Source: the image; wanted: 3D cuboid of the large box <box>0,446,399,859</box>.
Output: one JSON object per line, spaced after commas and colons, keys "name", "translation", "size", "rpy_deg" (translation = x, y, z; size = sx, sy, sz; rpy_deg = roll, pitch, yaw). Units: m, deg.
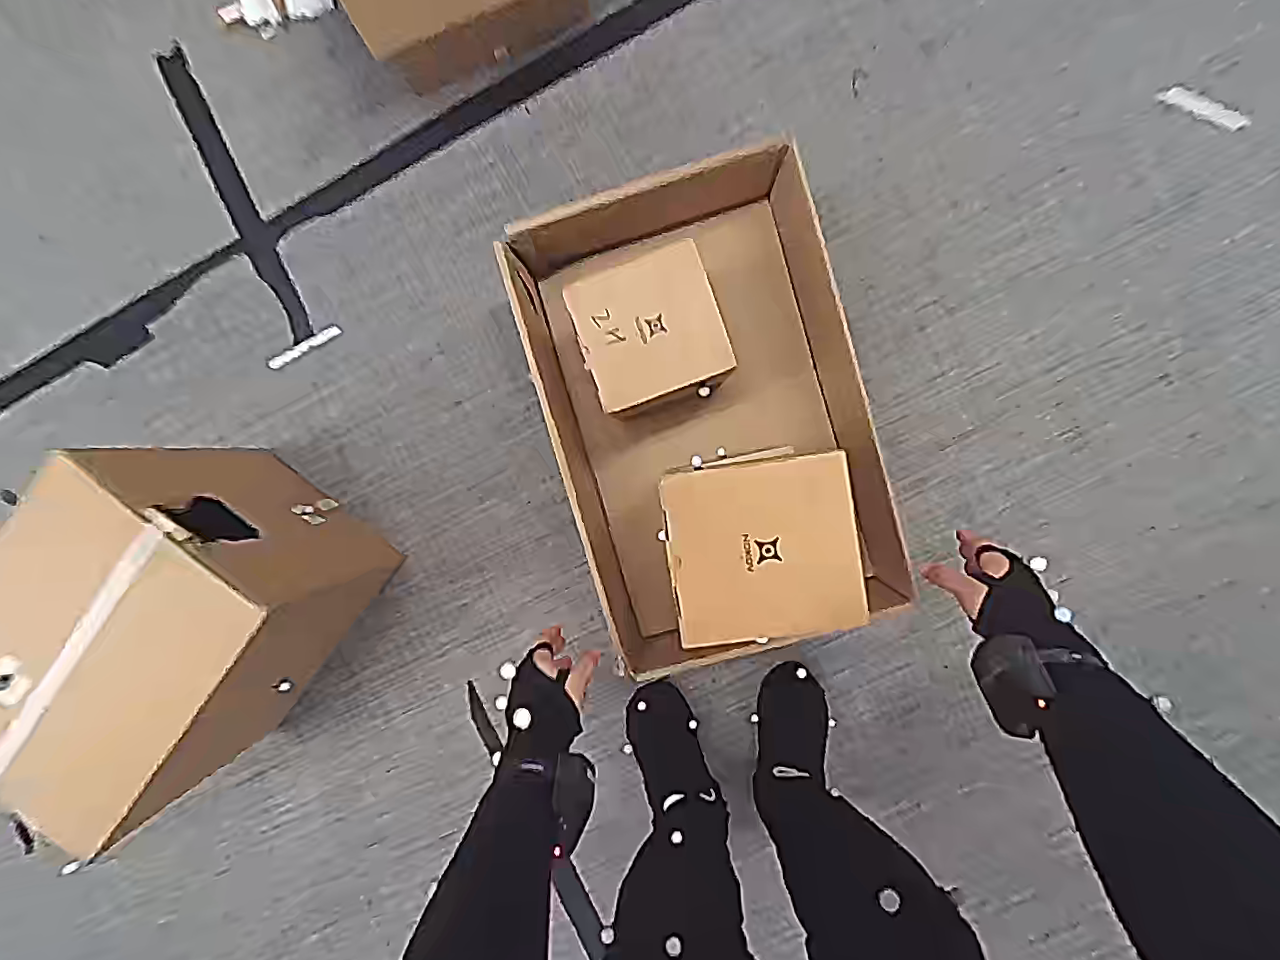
{"name": "large box", "translation": [-0.641, 0.199, 0.780], "size": [0.320, 0.320, 0.408], "rpy_deg": [37, 96, 2]}
